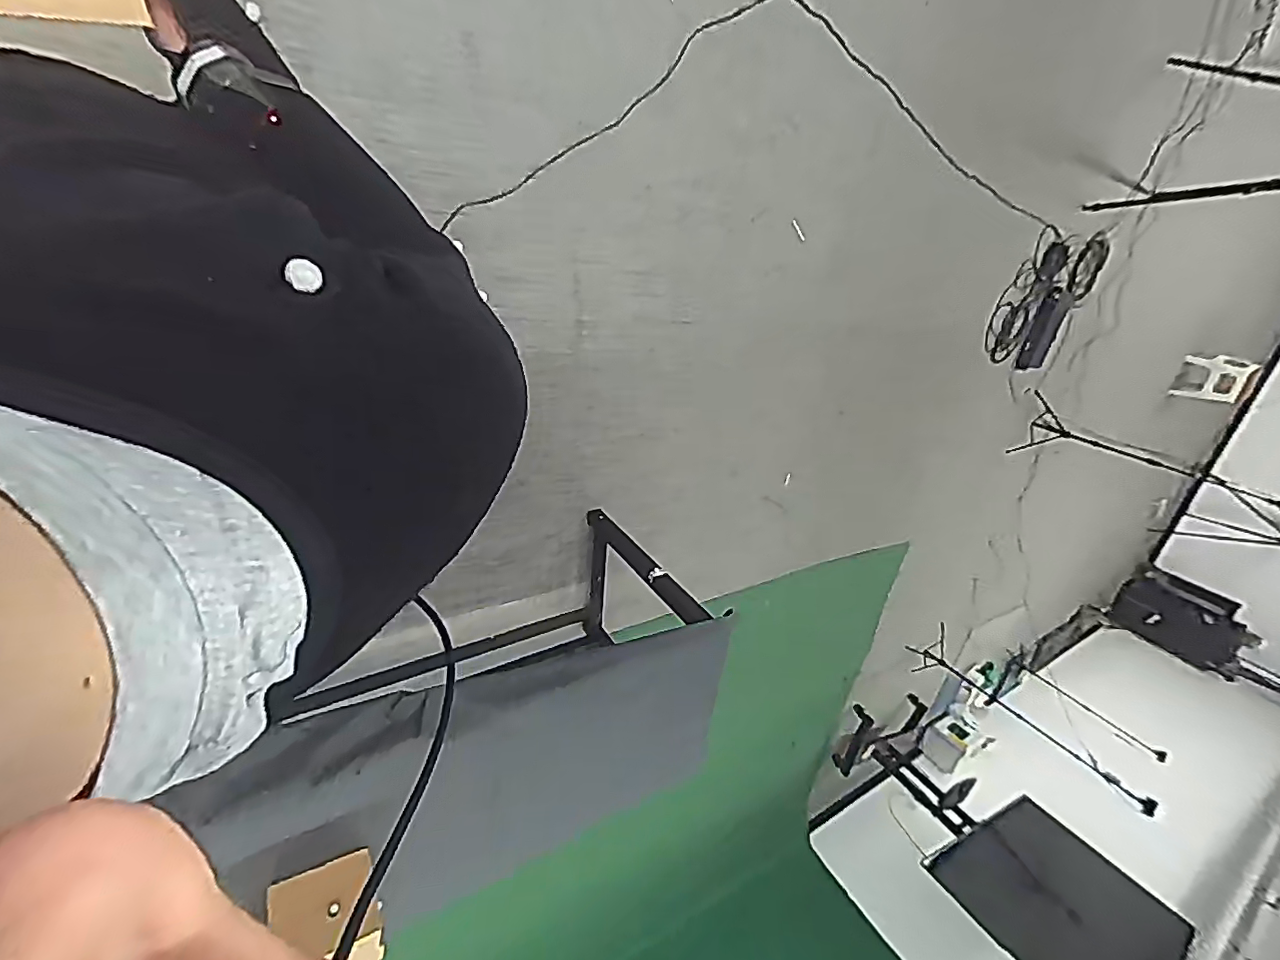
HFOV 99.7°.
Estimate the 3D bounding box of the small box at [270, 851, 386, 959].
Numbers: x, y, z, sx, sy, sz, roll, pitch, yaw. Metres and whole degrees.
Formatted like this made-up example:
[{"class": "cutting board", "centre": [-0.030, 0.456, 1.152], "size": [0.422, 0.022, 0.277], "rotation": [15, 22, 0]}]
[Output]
[{"class": "small box", "centre": [-0.609, 0.877, 1.054], "size": [0.179, 0.176, 0.168], "rotation": [-4, 117, -35]}]
